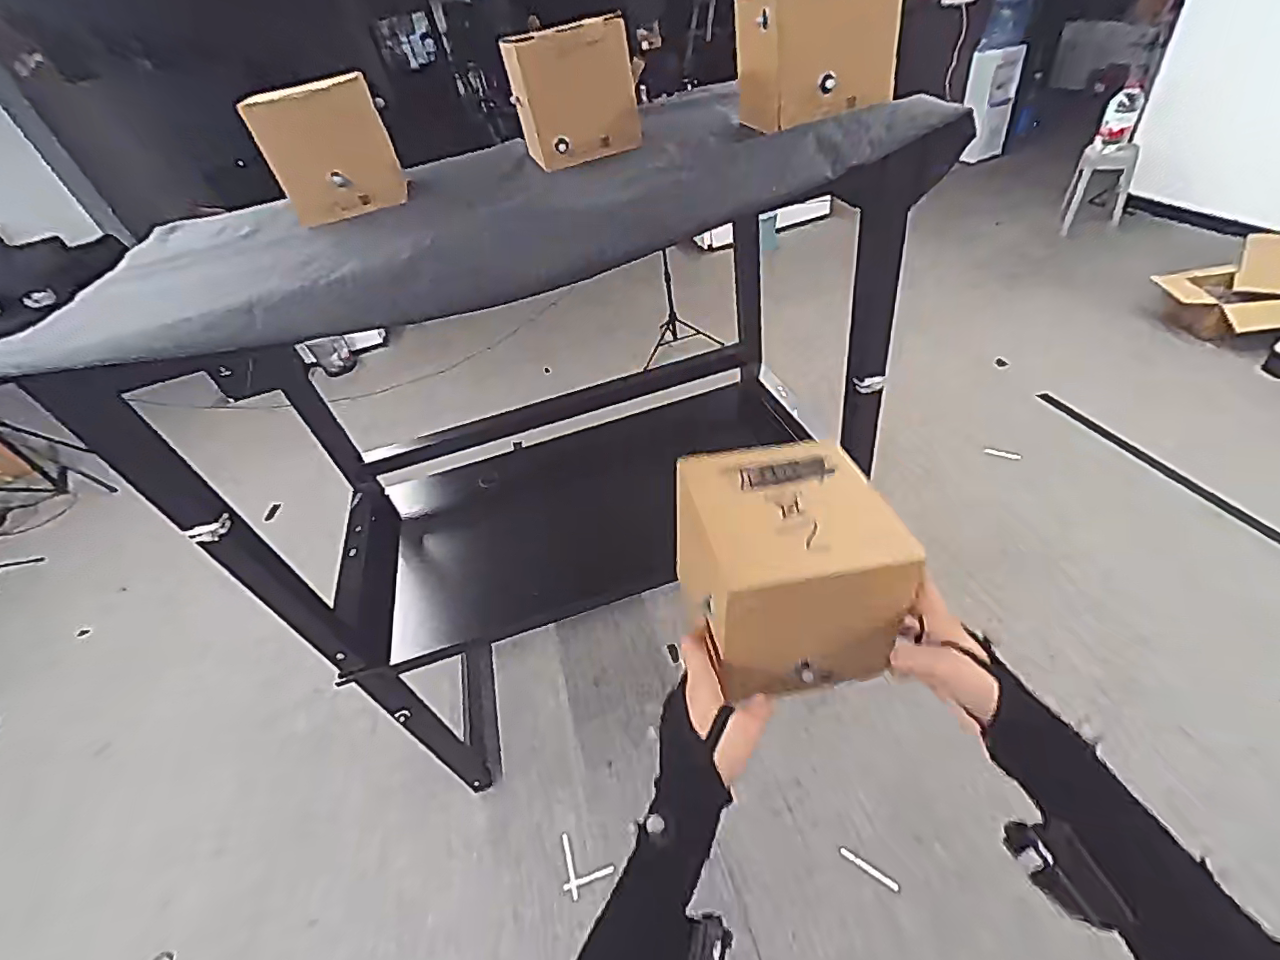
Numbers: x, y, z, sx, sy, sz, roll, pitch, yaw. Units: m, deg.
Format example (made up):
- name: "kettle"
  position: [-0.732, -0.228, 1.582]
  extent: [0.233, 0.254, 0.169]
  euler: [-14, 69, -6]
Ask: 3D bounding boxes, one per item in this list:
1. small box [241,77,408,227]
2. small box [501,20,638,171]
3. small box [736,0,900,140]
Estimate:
- name: "small box"
  position: [-0.493, -0.532, 0.878]
  extent: [0.168, 0.176, 0.179]
  euler: [-20, 43, -8]
- name: "small box"
  position: [-0.112, -0.625, 0.886]
  extent: [0.168, 0.176, 0.179]
  euler: [-19, 41, -7]
- name: "small box"
  position: [0.244, -0.609, 0.778]
  extent: [0.168, 0.176, 0.179]
  euler: [-15, 42, -1]
